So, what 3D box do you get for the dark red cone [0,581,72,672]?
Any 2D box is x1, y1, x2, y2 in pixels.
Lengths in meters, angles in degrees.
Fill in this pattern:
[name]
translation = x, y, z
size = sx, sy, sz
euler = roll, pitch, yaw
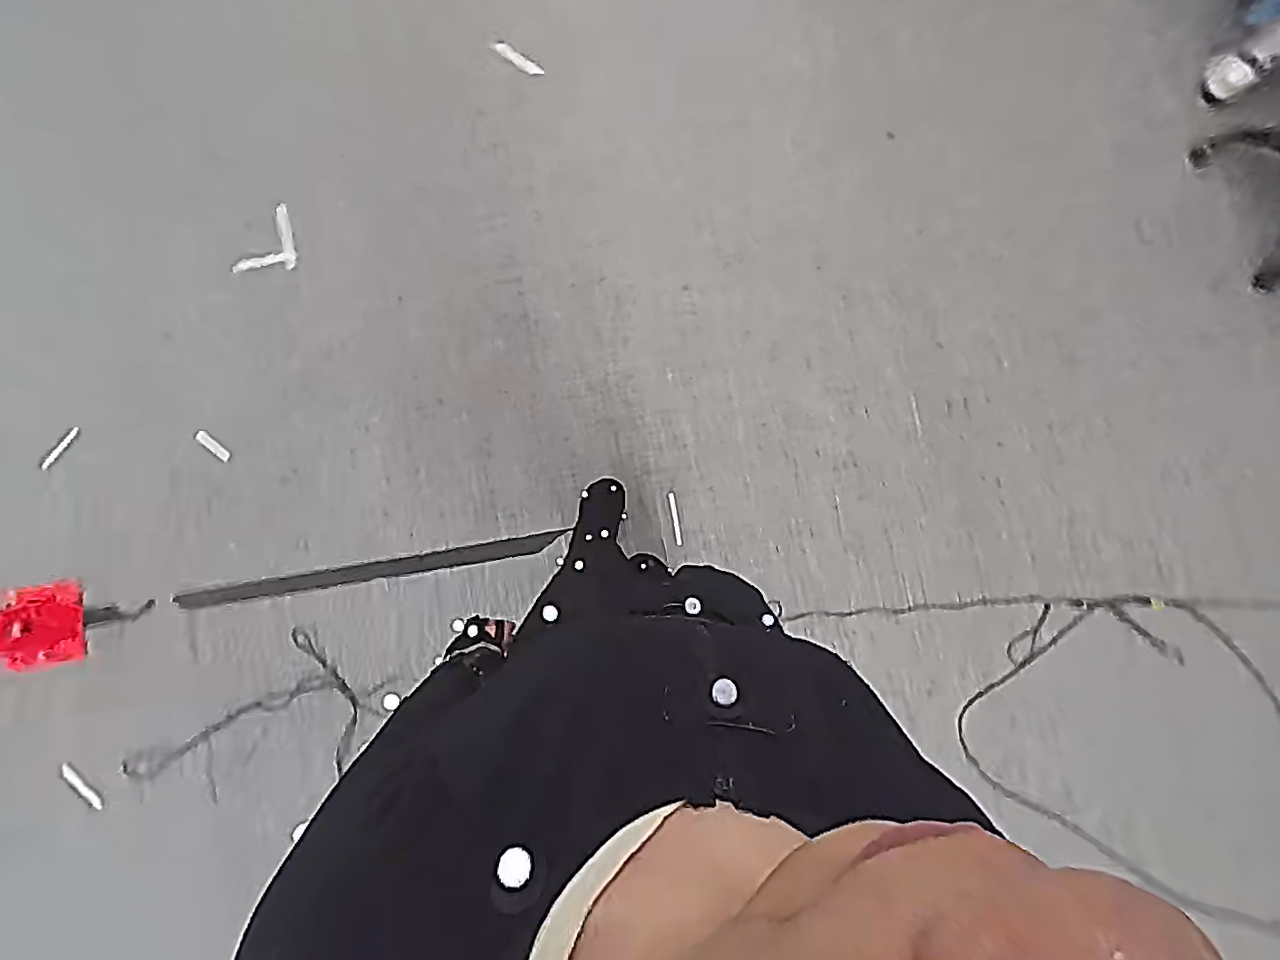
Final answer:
[dark red cone]
translation = -1.505, 0.352, 1.167
size = 0.202, 0.394, 0.201
euler = -10, 88, -2
